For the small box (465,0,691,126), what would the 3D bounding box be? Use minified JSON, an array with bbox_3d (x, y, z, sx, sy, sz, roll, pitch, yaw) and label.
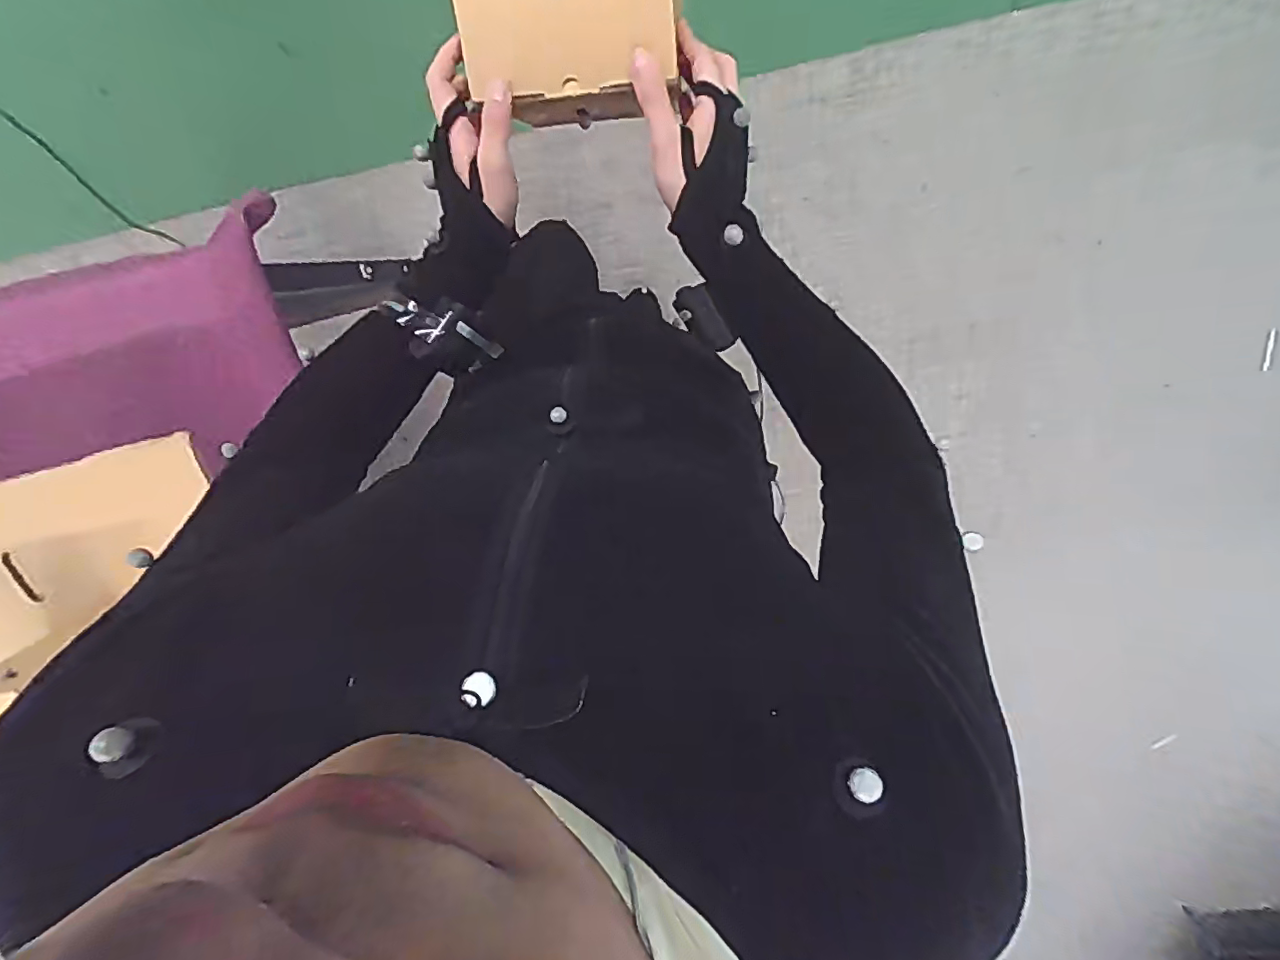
[{"bbox_3d":[-0.043,-0.411,0.448,0.168,0.176,0.179,-1,119,7],"label":"small box"}]
